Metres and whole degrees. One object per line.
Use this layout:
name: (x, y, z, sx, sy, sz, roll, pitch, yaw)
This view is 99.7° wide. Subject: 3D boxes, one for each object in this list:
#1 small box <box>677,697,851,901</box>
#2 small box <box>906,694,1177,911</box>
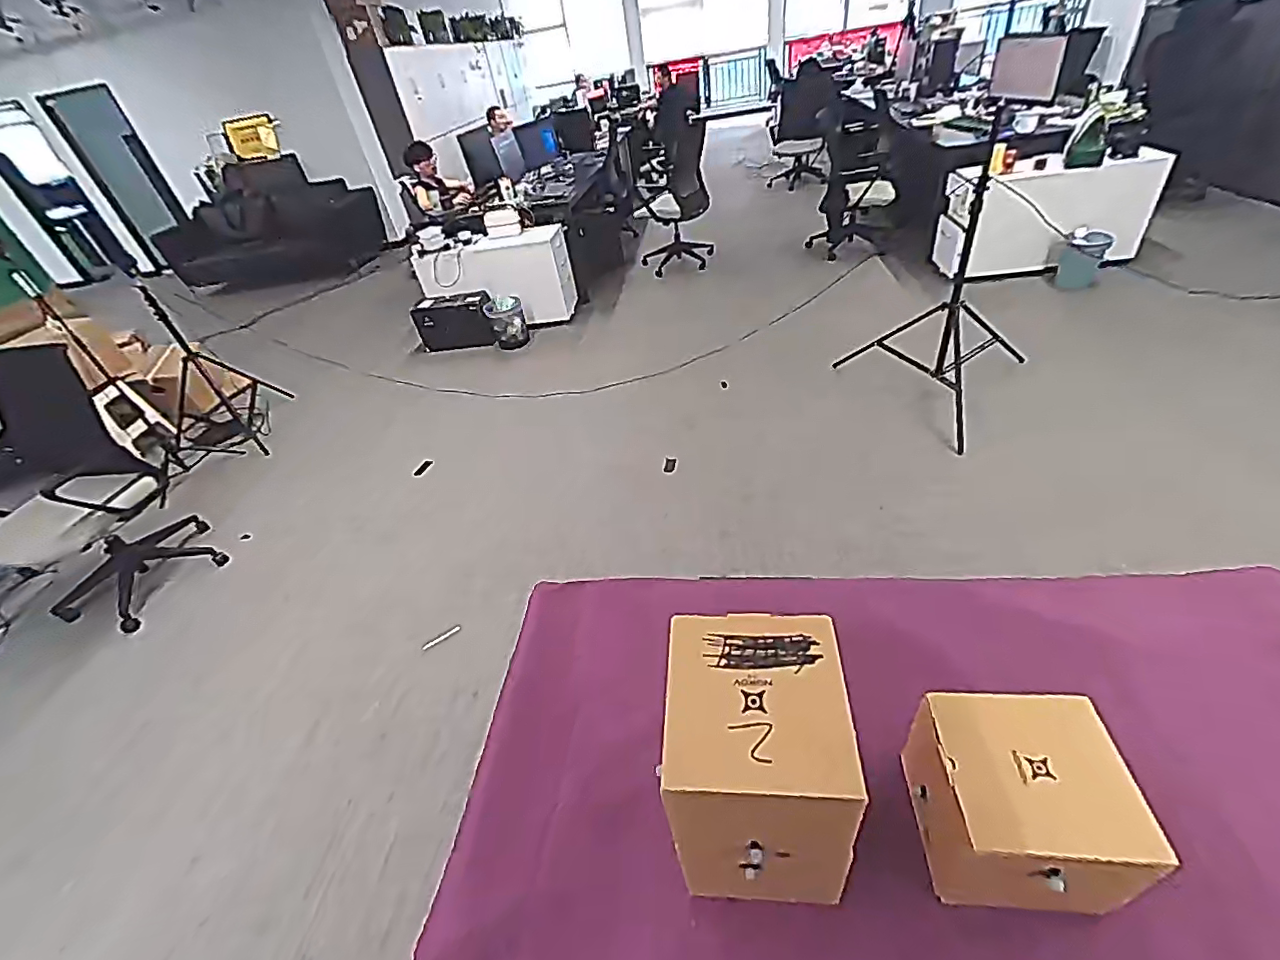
small box: (0.144, 0.385, 0.656, 0.179, 0.176, 0.168, -3, 39, 9)
small box: (0.426, 0.365, 0.615, 0.179, 0.176, 0.168, -4, 39, 11)
